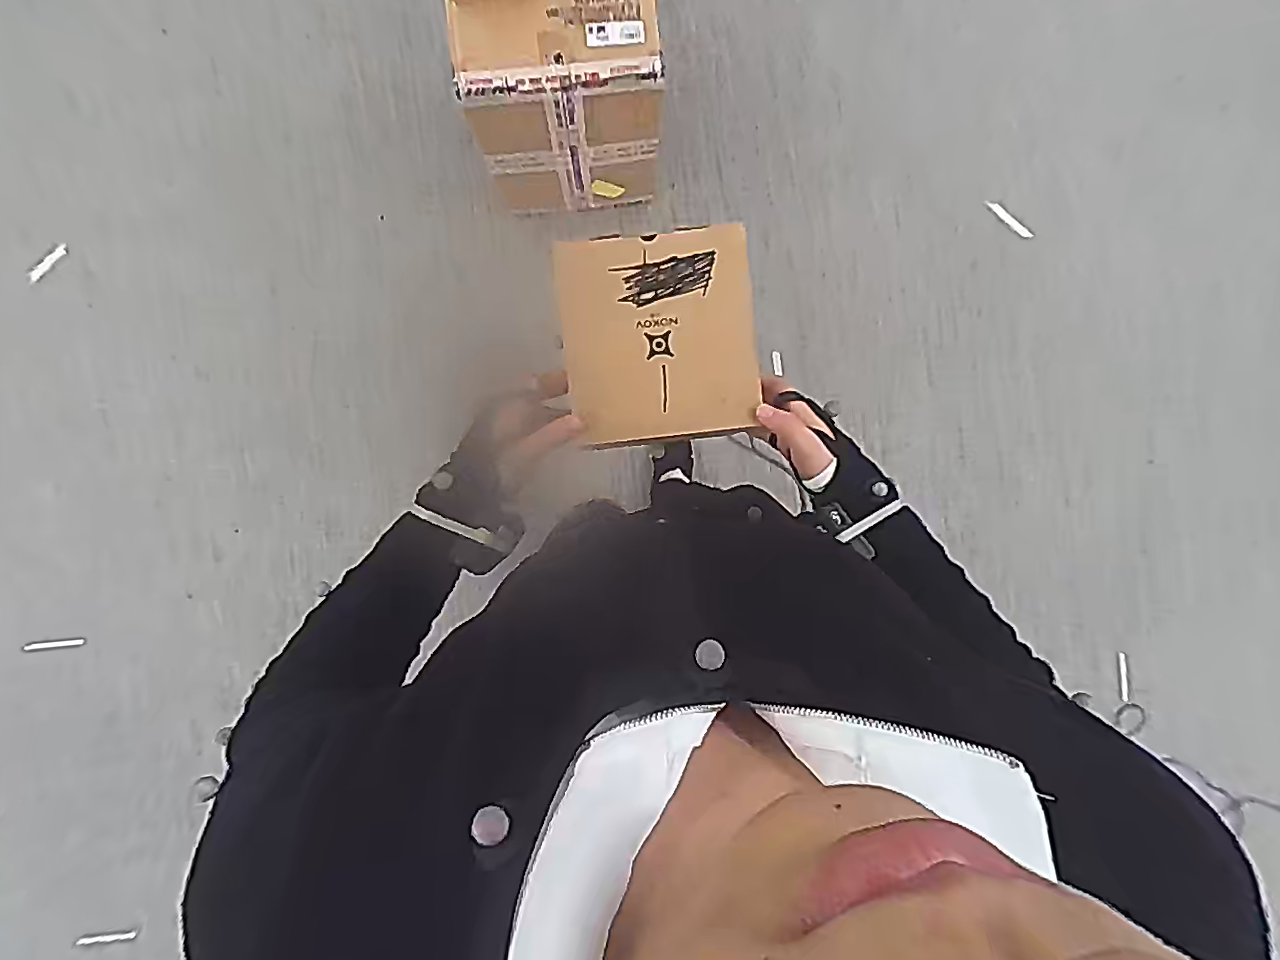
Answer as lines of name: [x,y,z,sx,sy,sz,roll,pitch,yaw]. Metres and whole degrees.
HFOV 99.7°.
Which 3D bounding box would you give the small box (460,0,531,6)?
small box: [-0.263,-0.953,0.900,0.168,0.176,0.179,-7,93,0]
